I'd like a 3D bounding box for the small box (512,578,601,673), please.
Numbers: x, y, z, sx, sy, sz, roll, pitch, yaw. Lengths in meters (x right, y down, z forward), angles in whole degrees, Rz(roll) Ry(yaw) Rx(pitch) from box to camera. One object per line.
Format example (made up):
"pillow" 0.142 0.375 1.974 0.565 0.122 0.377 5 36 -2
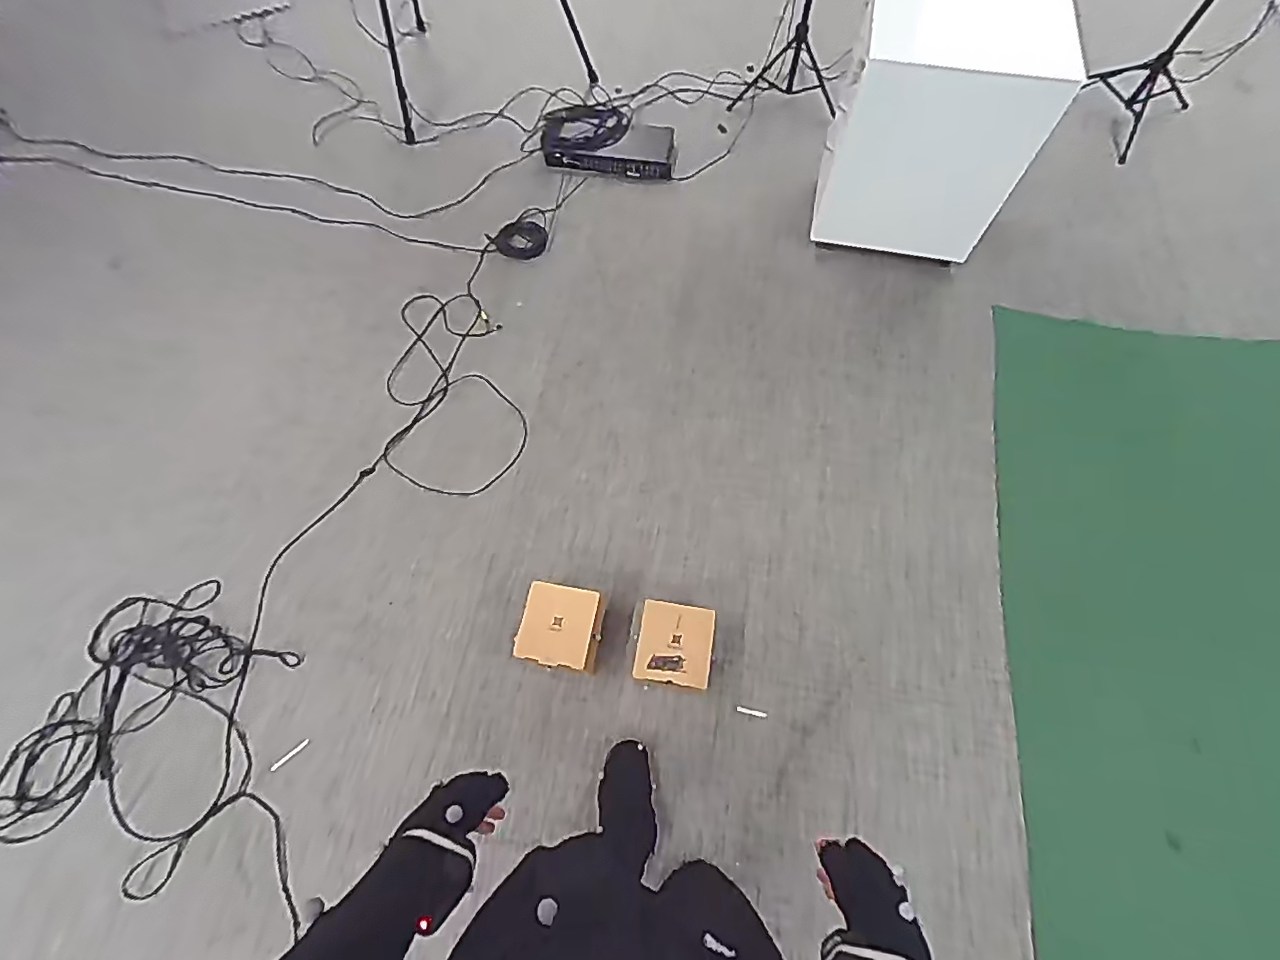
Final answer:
"small box" -0.191 0.355 1.304 0.168 0.176 0.179 9 66 6

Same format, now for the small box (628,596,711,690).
"small box" 0.071 0.392 1.279 0.168 0.176 0.179 9 65 5
